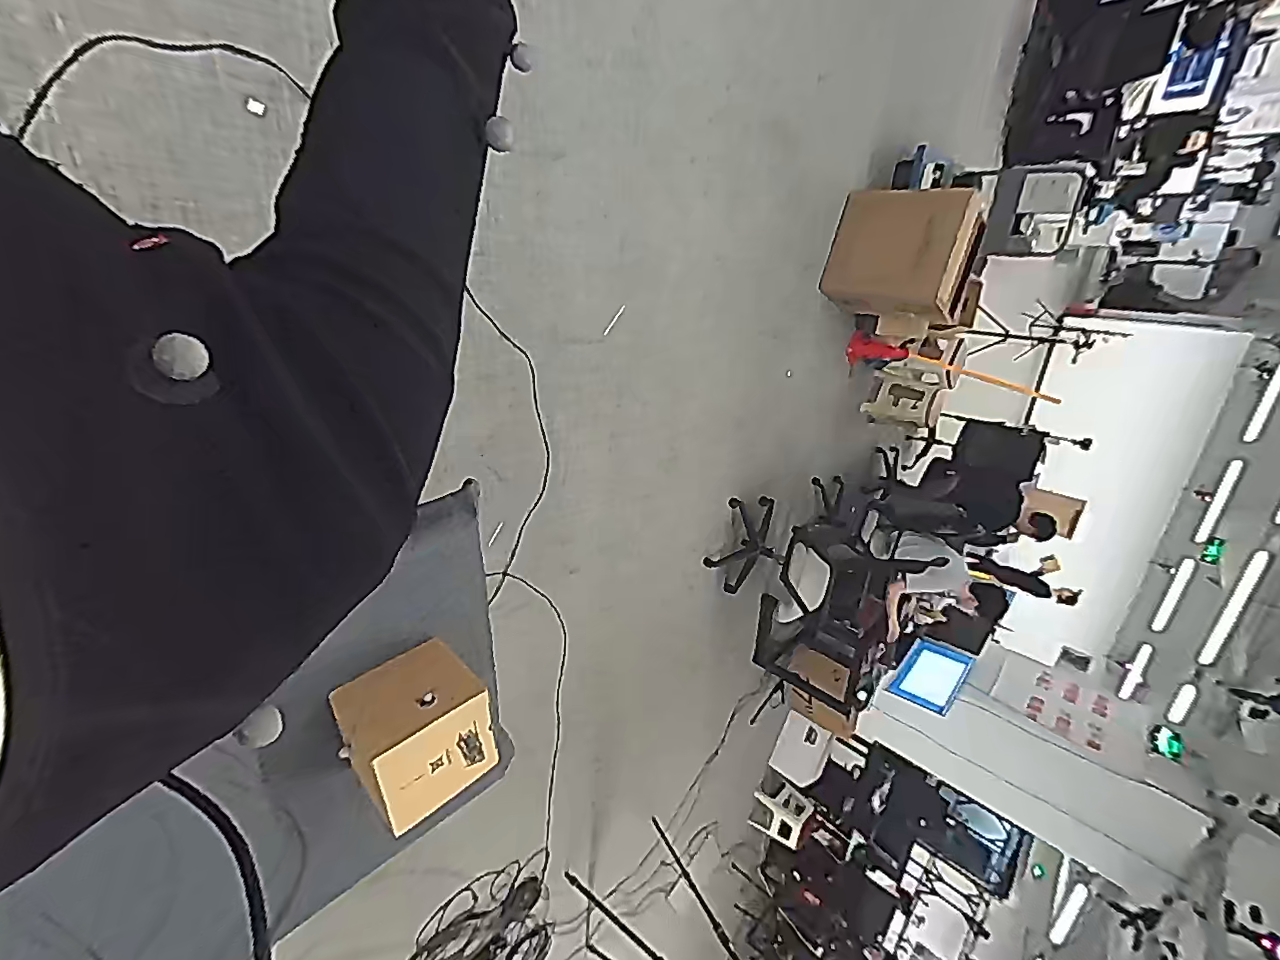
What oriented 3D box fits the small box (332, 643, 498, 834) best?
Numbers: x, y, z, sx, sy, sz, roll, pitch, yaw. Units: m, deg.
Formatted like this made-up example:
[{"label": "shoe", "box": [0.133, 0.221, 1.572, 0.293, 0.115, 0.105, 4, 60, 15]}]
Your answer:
[{"label": "small box", "box": [-0.352, 0.392, 0.855, 0.179, 0.176, 0.168, -24, 123, -40]}]
